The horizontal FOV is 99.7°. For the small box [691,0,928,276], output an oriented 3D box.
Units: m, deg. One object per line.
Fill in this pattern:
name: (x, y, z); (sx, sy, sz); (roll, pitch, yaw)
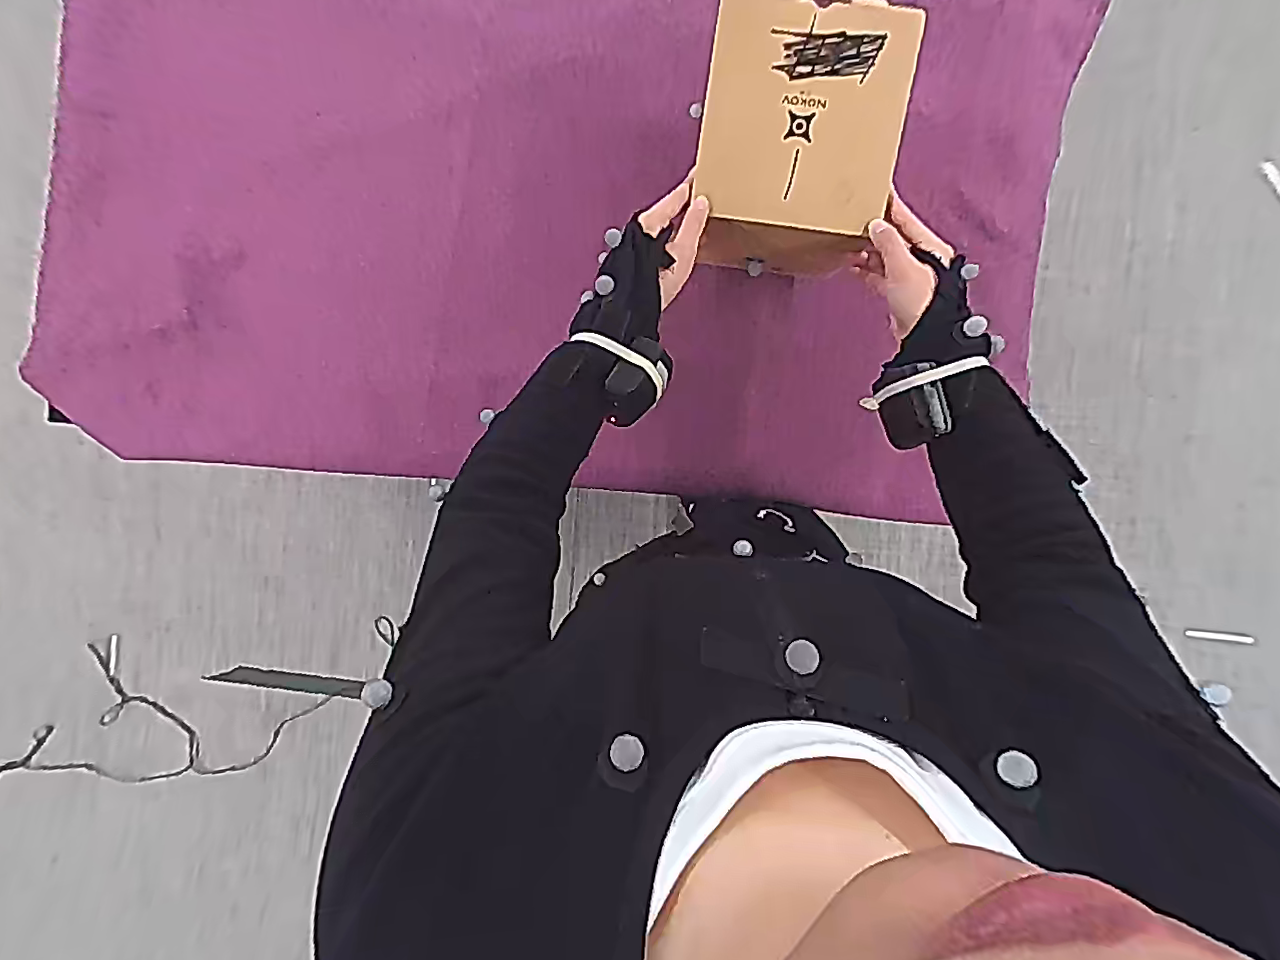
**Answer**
small box: (0.143, -0.316, 0.524); (0.168, 0.176, 0.179); (9, 99, 3)
